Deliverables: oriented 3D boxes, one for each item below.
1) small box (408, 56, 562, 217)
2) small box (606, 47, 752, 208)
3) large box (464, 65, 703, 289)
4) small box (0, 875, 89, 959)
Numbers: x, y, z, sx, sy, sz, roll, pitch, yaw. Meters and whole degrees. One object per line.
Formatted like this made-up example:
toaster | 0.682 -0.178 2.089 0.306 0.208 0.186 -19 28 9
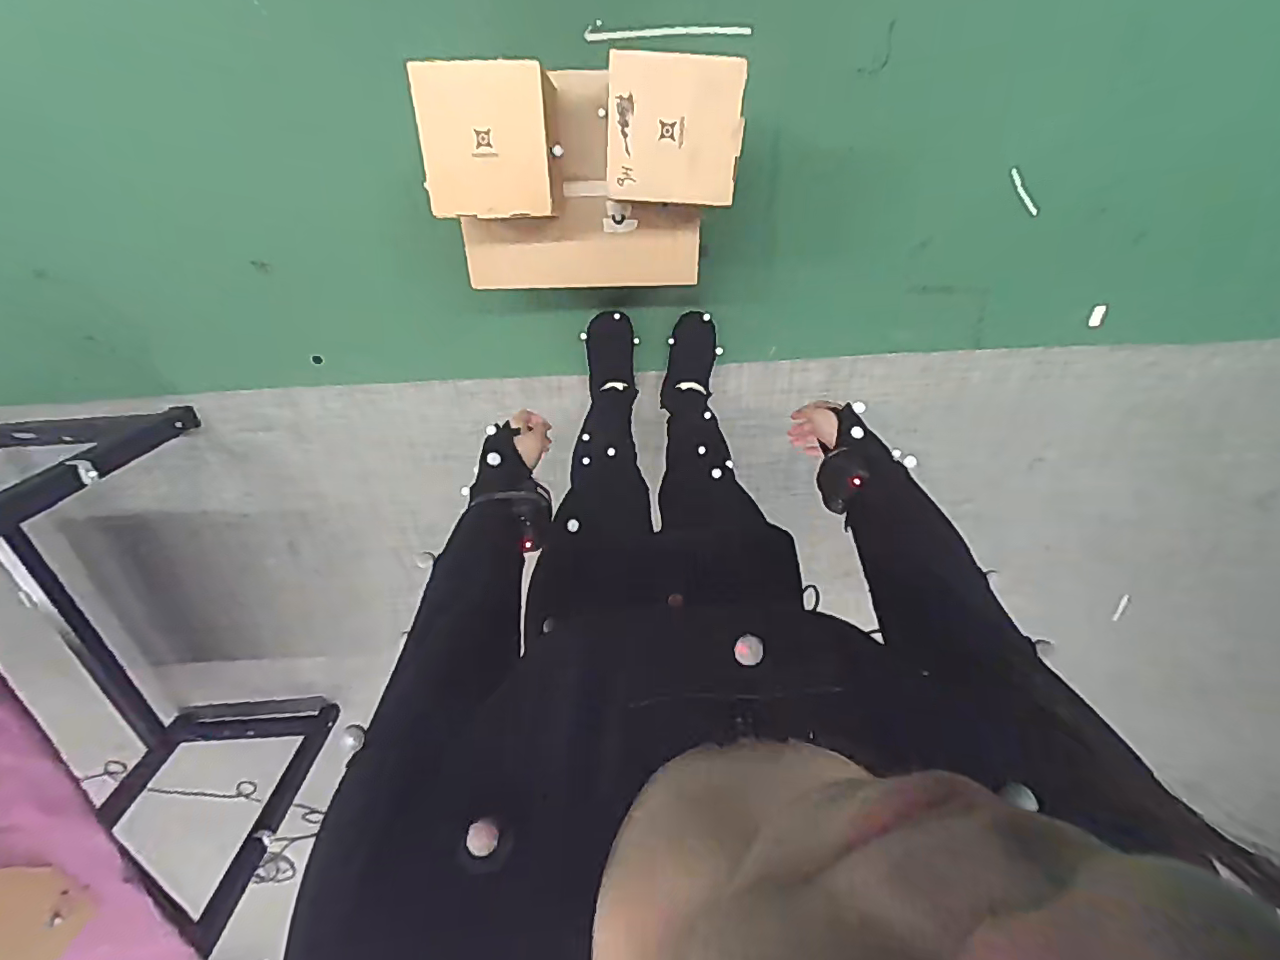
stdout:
small box | -0.204 -0.474 0.768 0.168 0.176 0.179 -2 118 -1
small box | 0.045 -0.484 0.763 0.179 0.176 0.168 3 118 -2
large box | -0.101 -0.548 1.005 0.408 0.320 0.320 -2 119 -1
small box | -1.207 0.862 0.998 0.179 0.176 0.168 -3 119 3
